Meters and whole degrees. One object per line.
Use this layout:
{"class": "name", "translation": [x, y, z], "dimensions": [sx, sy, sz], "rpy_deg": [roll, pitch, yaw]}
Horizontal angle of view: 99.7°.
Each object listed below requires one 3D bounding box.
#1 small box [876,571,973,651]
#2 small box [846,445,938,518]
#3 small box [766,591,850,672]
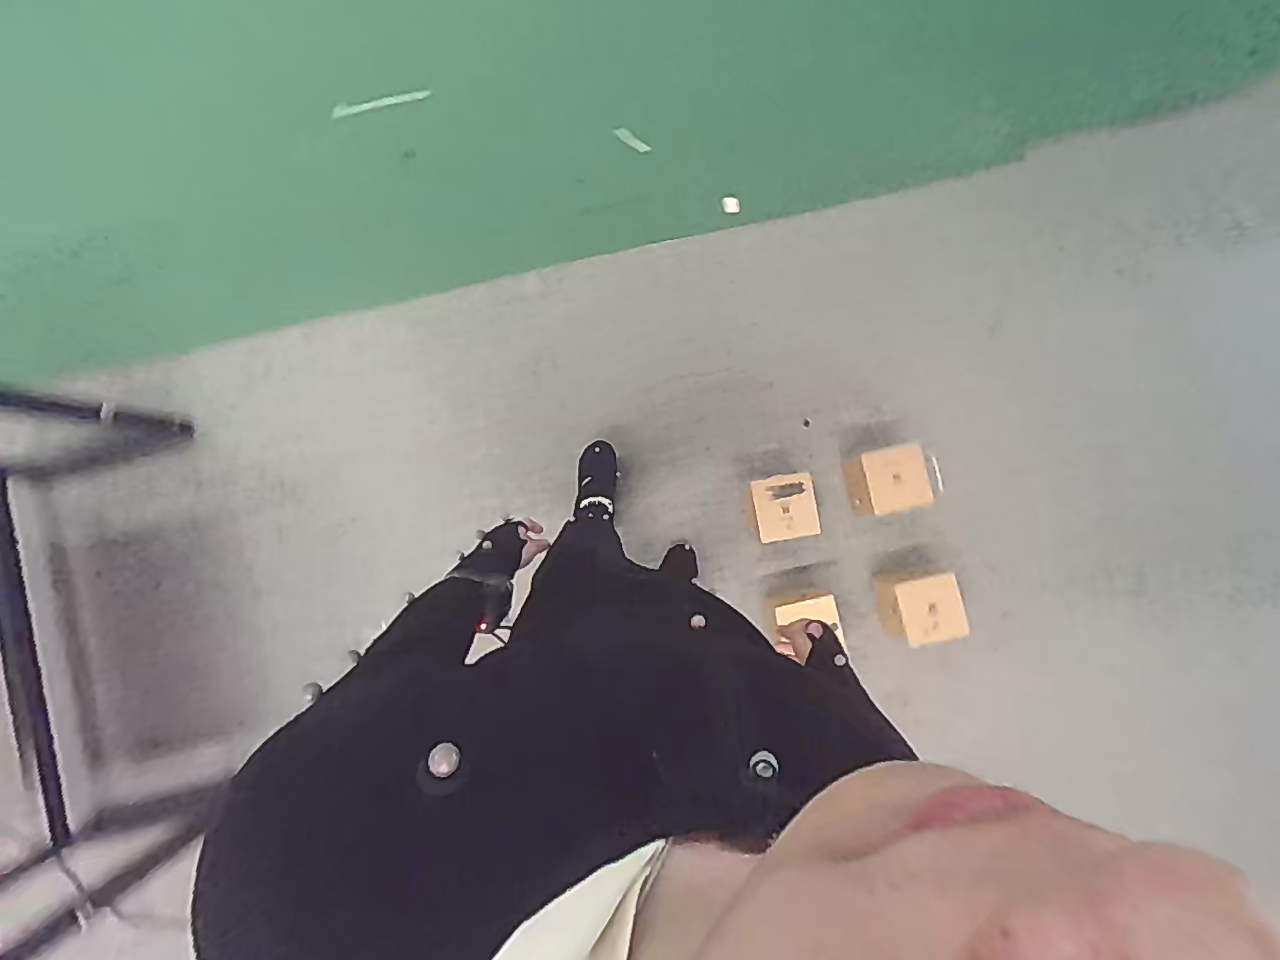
{"class": "small box", "translation": [0.782, 0.356, 1.508], "dimensions": [0.168, 0.176, 0.179], "rpy_deg": [-12, 87, 2]}
{"class": "small box", "translation": [0.705, 0.007, 1.530], "dimensions": [0.168, 0.176, 0.179], "rpy_deg": [-11, 86, 0]}
{"class": "small box", "translation": [0.463, 0.415, 1.518], "dimensions": [0.168, 0.176, 0.179], "rpy_deg": [-13, 88, 1]}
